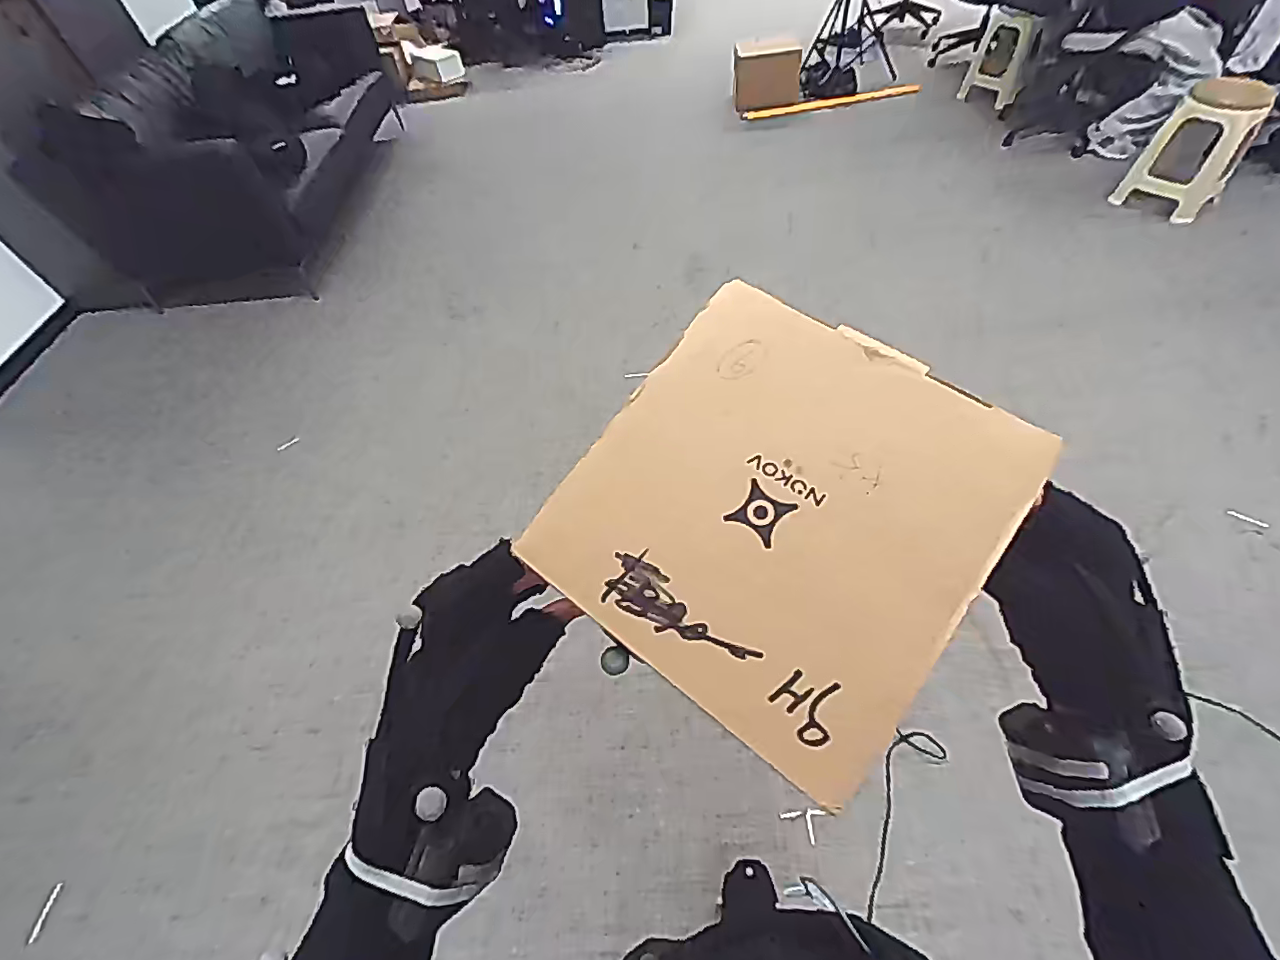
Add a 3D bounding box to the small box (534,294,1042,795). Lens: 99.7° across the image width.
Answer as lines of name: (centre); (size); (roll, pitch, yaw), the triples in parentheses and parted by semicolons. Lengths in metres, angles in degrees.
small box: (0.073, 0.037, 0.318); (0.168, 0.176, 0.179); (34, 78, 19)
